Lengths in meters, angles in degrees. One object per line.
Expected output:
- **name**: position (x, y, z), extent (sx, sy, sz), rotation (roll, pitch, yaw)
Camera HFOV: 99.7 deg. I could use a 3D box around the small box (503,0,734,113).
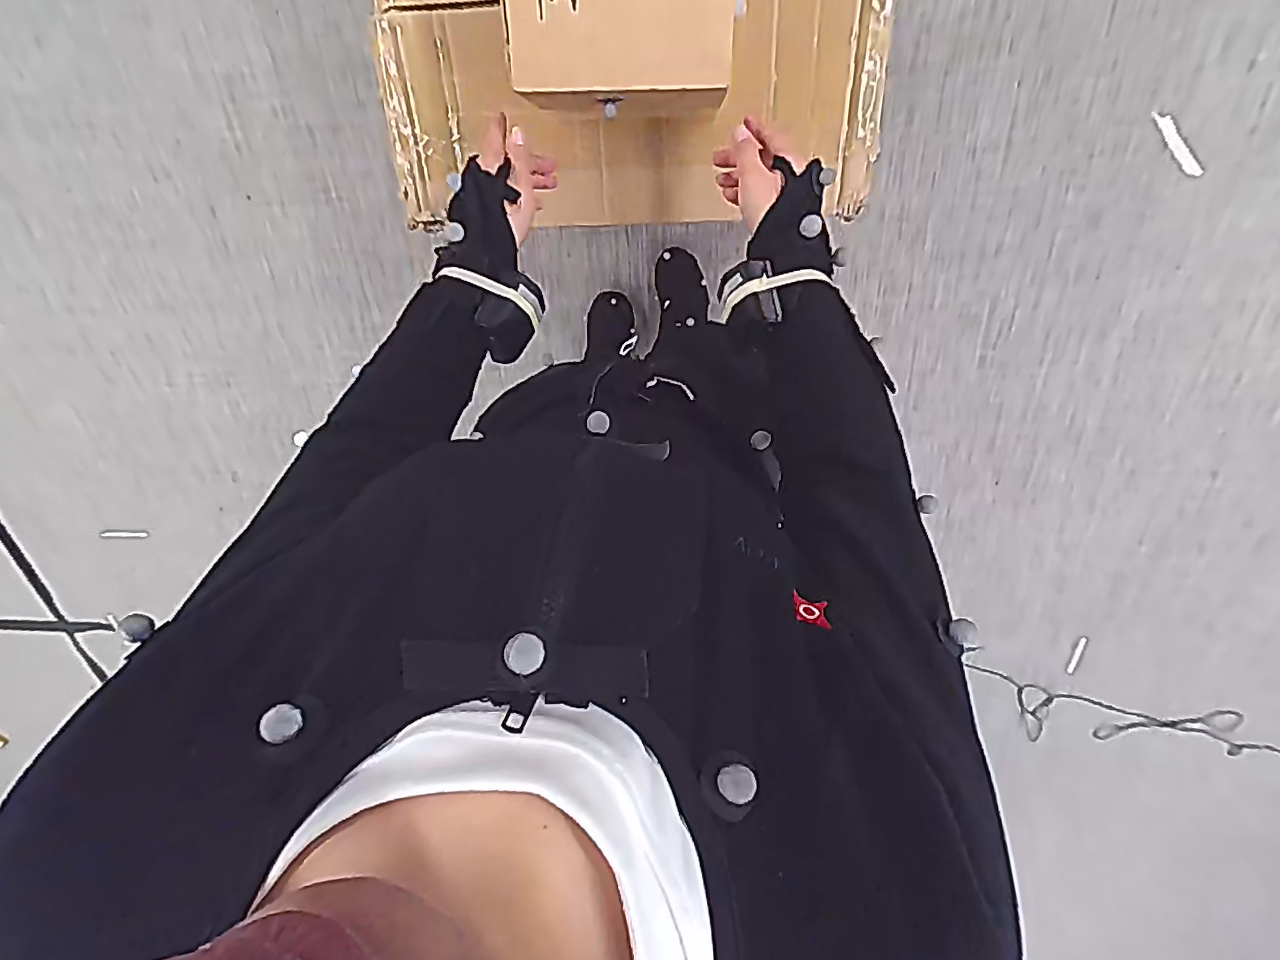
- **small box**: position (-0.011, -0.421, 0.458), extent (0.179, 0.176, 0.168), rotation (1, 117, 3)
